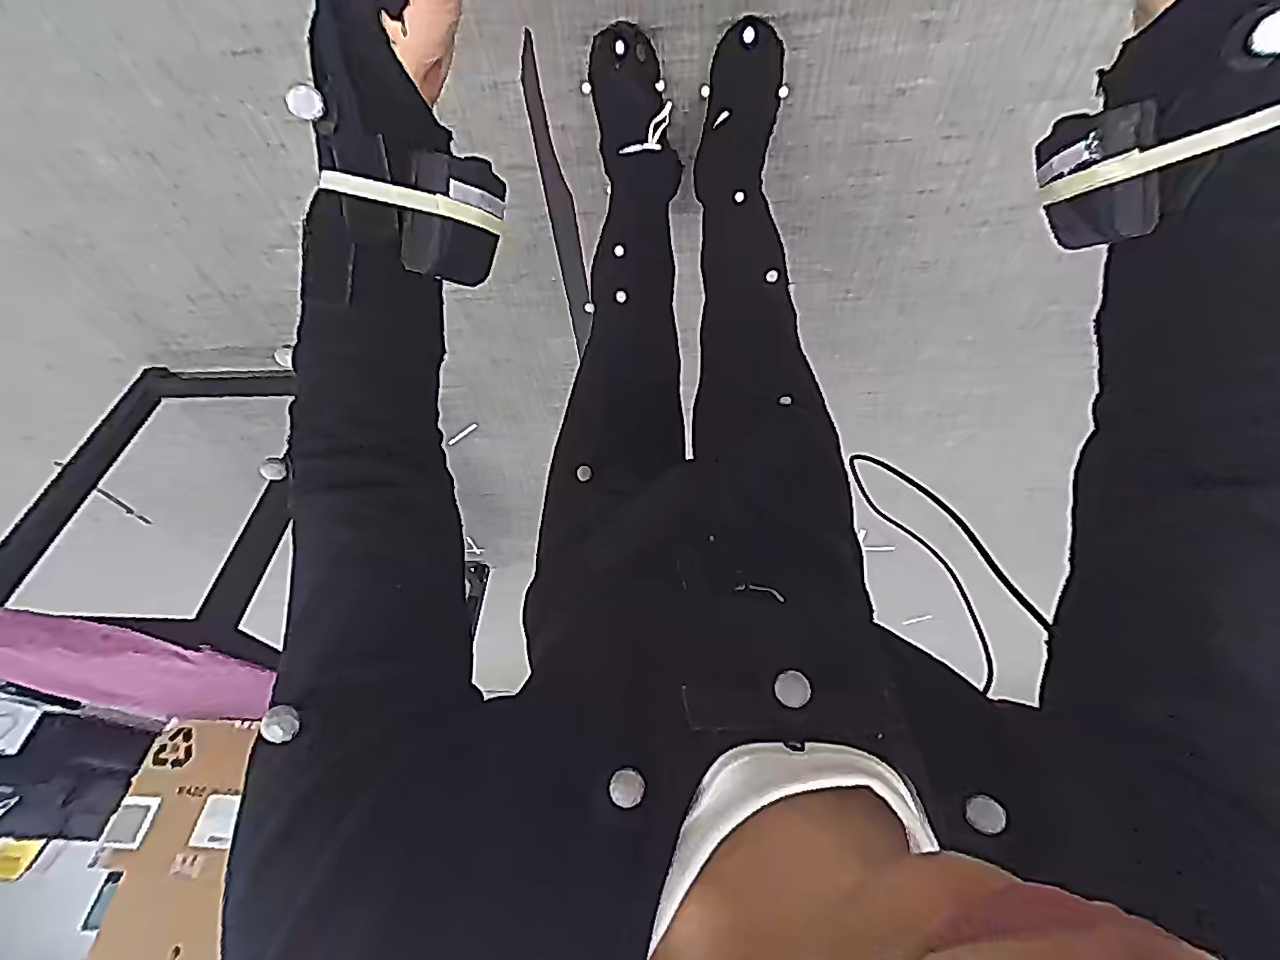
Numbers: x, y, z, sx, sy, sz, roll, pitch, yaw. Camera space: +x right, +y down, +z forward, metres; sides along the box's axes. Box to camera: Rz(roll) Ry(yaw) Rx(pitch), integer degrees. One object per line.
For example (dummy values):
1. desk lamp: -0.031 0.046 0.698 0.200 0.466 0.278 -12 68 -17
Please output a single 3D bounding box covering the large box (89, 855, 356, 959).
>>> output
1. large box: -0.986 1.097 1.290 0.408 0.320 0.320 0 149 4
